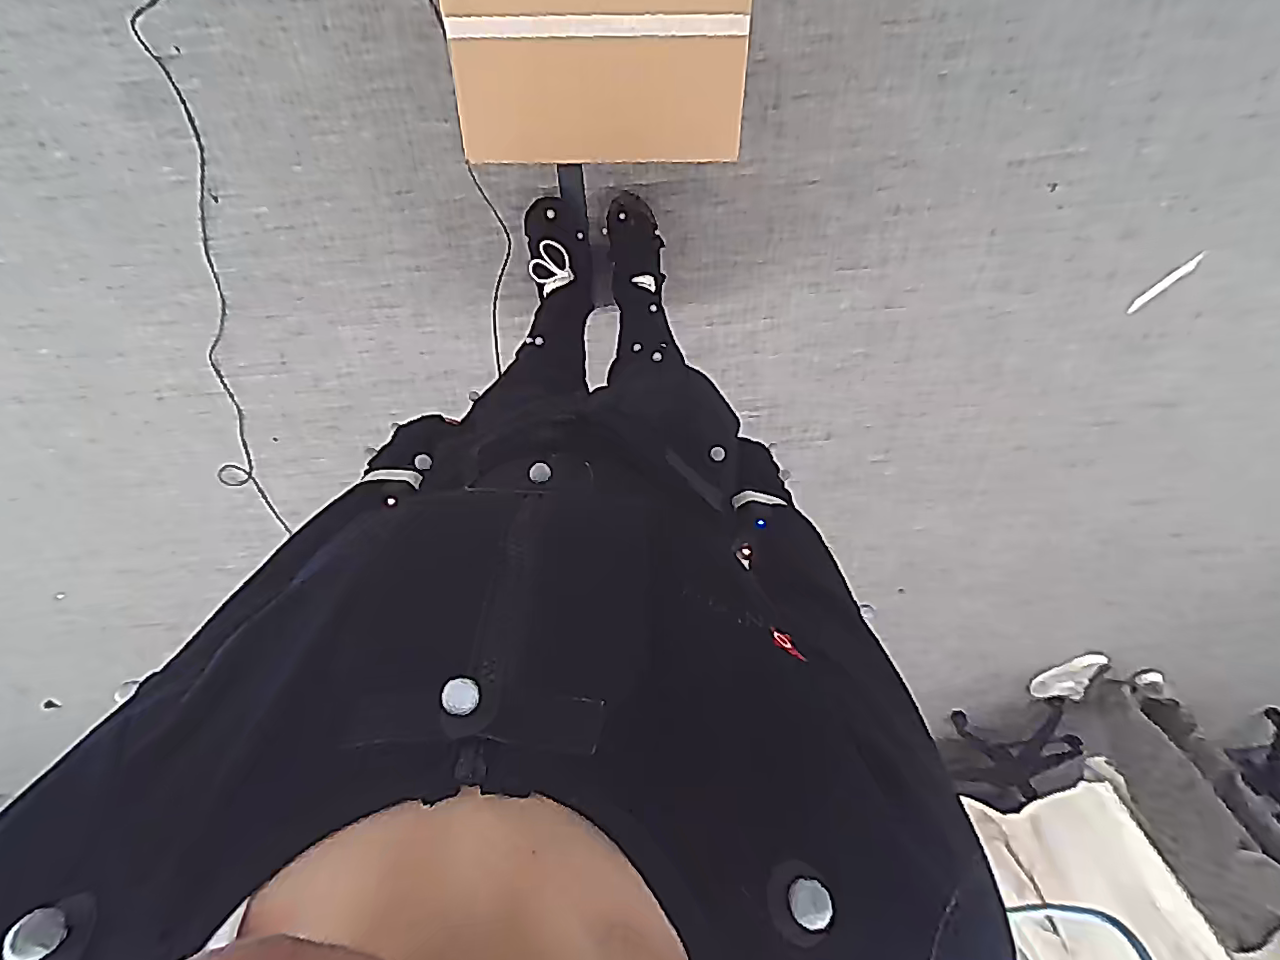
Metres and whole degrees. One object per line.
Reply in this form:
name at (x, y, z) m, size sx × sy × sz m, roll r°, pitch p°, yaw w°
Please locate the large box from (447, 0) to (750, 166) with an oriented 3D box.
large box at (-0.058, -0.687, 0.842) m, size 0.408 × 0.320 × 0.320 m, roll -1°, pitch 126°, yaw -1°
